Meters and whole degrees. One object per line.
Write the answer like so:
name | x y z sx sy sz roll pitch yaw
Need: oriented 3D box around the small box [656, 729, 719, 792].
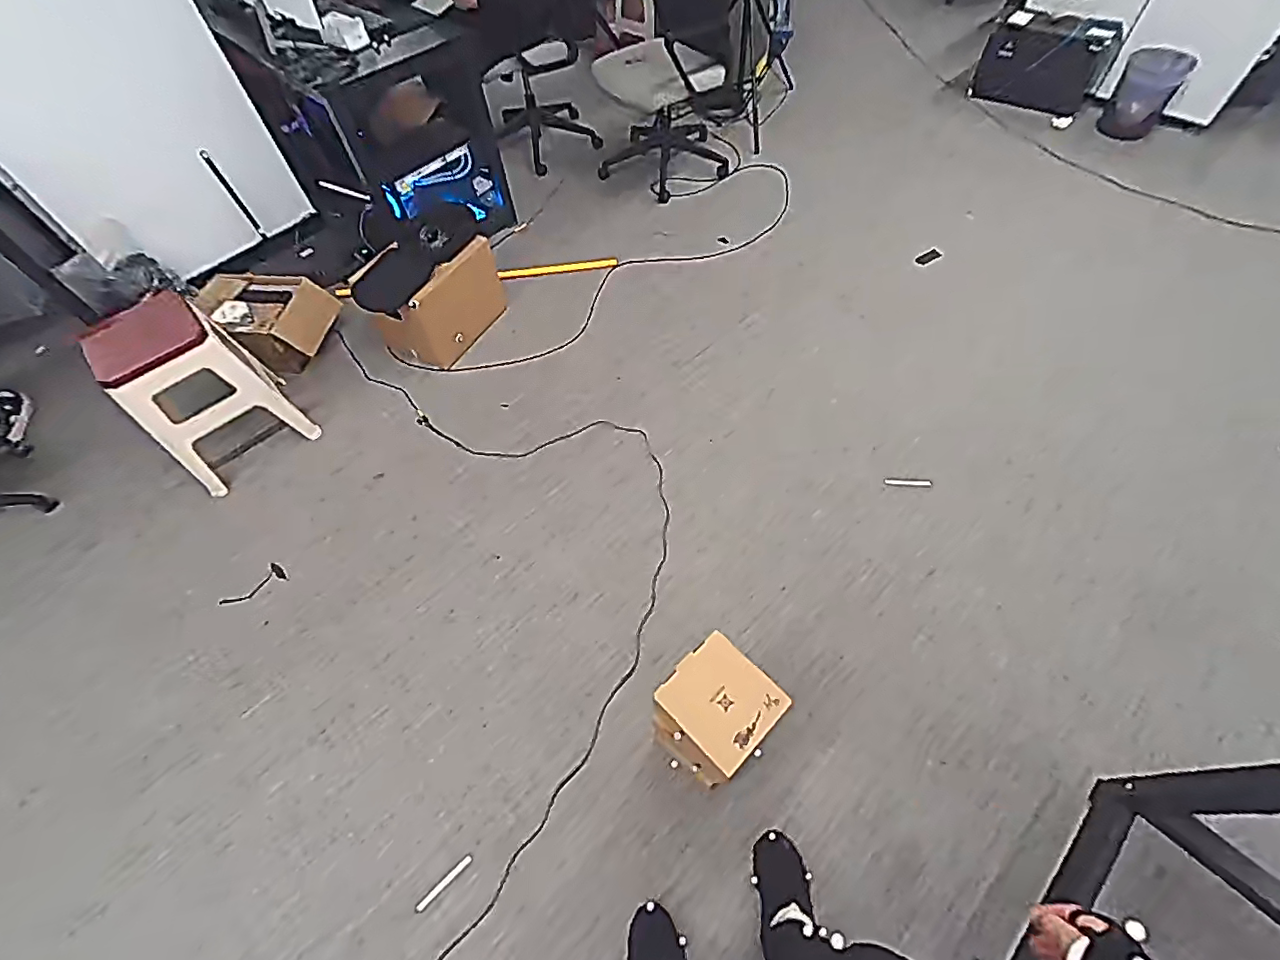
small box | 0.153 0.591 1.255 0.168 0.176 0.179 36 67 24

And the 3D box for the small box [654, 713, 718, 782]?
small box | 0.146 0.498 1.123 0.168 0.176 0.179 33 64 21

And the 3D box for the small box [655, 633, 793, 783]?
small box | 0.145 0.418 0.979 0.168 0.176 0.179 -40 63 -20
